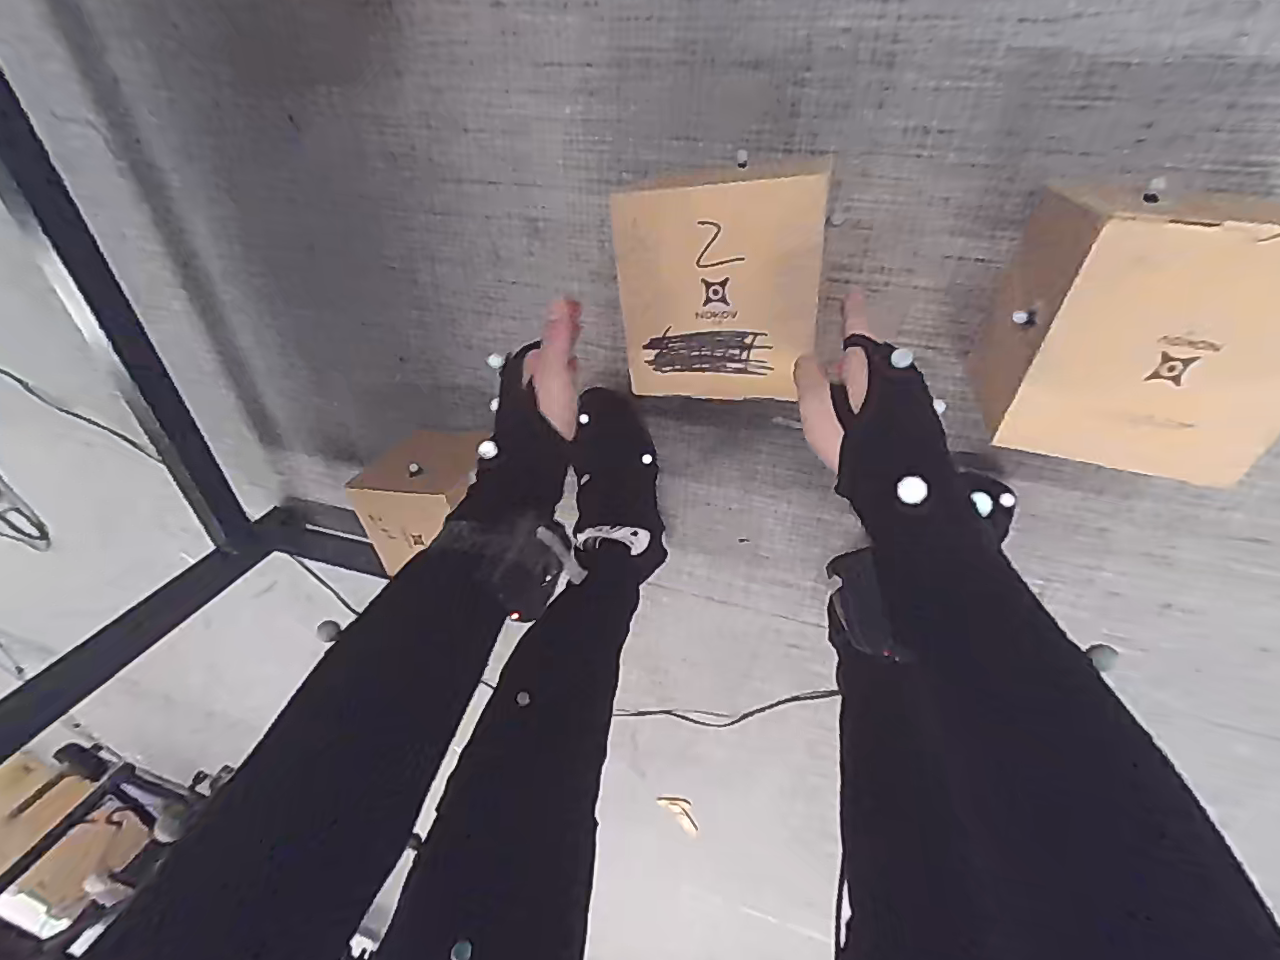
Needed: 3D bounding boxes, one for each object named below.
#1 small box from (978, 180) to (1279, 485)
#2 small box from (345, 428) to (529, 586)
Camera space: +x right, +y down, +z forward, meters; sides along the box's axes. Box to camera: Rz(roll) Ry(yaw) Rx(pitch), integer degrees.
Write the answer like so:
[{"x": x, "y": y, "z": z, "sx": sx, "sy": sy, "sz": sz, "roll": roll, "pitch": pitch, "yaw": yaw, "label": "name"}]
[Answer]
[{"x": 0.396, "y": -0.127, "z": 0.428, "sx": 0.168, "sy": 0.176, "sz": 0.179, "roll": 14, "pitch": 127, "yaw": 13, "label": "small box"}, {"x": -0.283, "y": 0.033, "z": 0.804, "sx": 0.179, "sy": 0.176, "sz": 0.168, "roll": 4, "pitch": 124, "yaw": 19, "label": "small box"}]
